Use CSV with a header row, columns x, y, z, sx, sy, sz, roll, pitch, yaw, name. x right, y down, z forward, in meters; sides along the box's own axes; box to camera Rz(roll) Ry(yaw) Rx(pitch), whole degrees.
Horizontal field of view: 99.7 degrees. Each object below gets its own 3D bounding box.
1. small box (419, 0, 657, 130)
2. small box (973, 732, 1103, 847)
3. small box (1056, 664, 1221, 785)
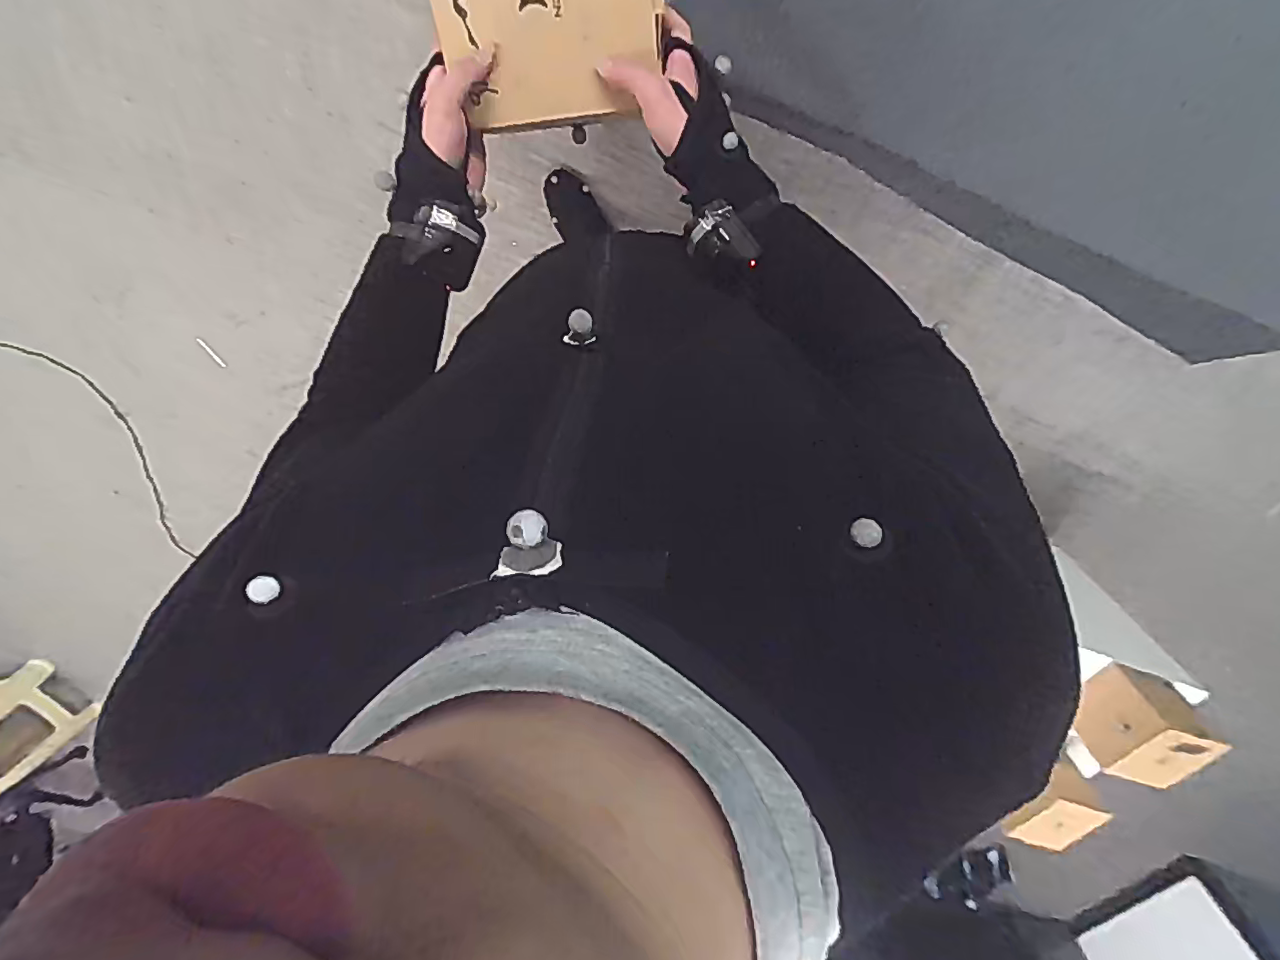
x,y,z,sx,sy,sz,roll,pitch,yaw,name
-0.081,-0.411,0.468,0.179,0.176,0.168,-4,120,3,small box
0.981,0.775,1.359,0.168,0.176,0.179,22,118,-11,small box
1.099,0.543,1.212,0.168,0.176,0.179,19,122,-9,small box
